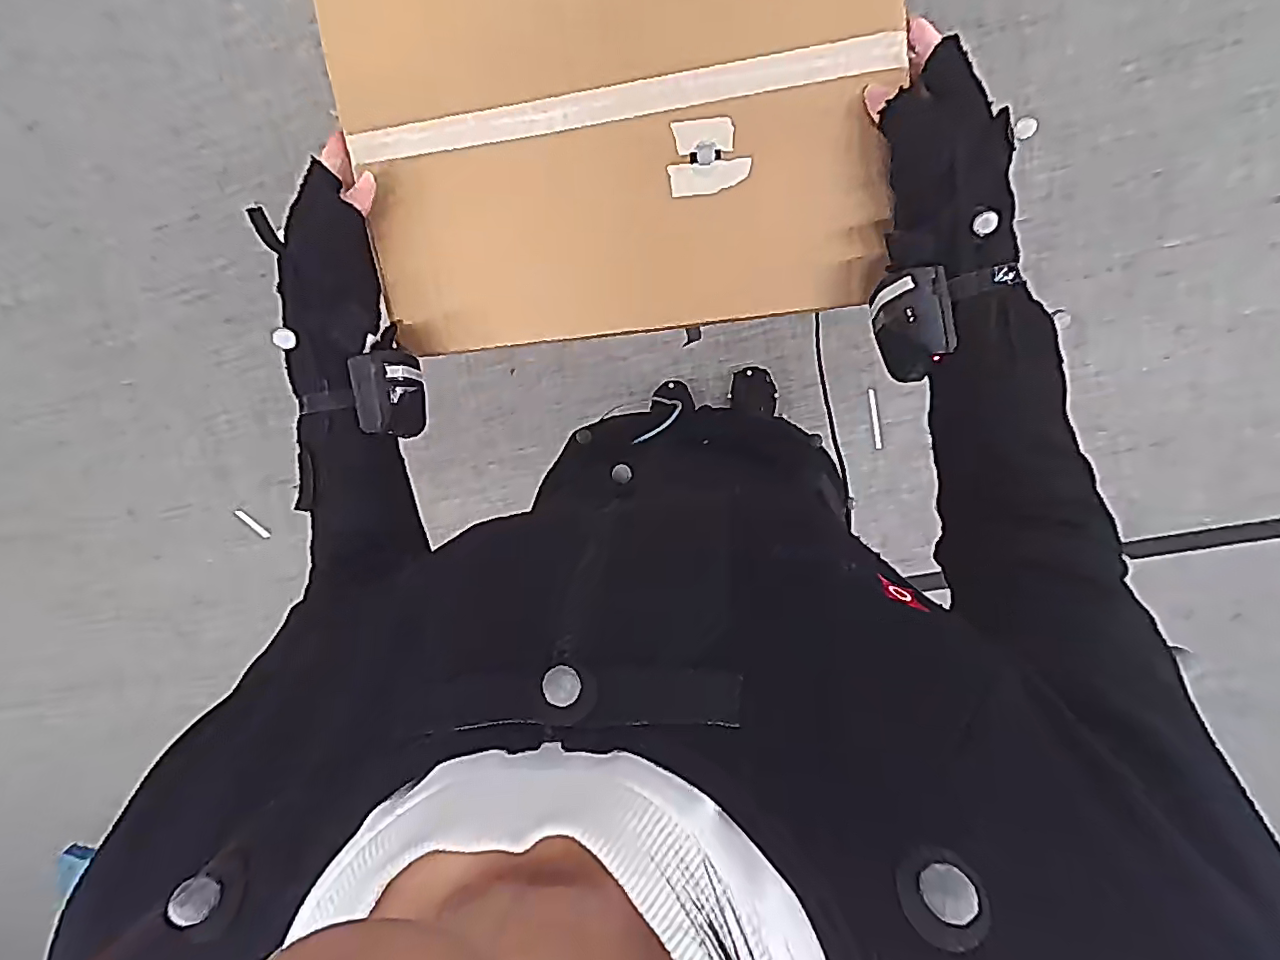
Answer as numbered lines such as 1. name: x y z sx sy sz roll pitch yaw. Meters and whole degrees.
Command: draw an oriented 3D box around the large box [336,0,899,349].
1. large box: -0.004 -0.319 0.542 0.408 0.320 0.320 -5 106 7
